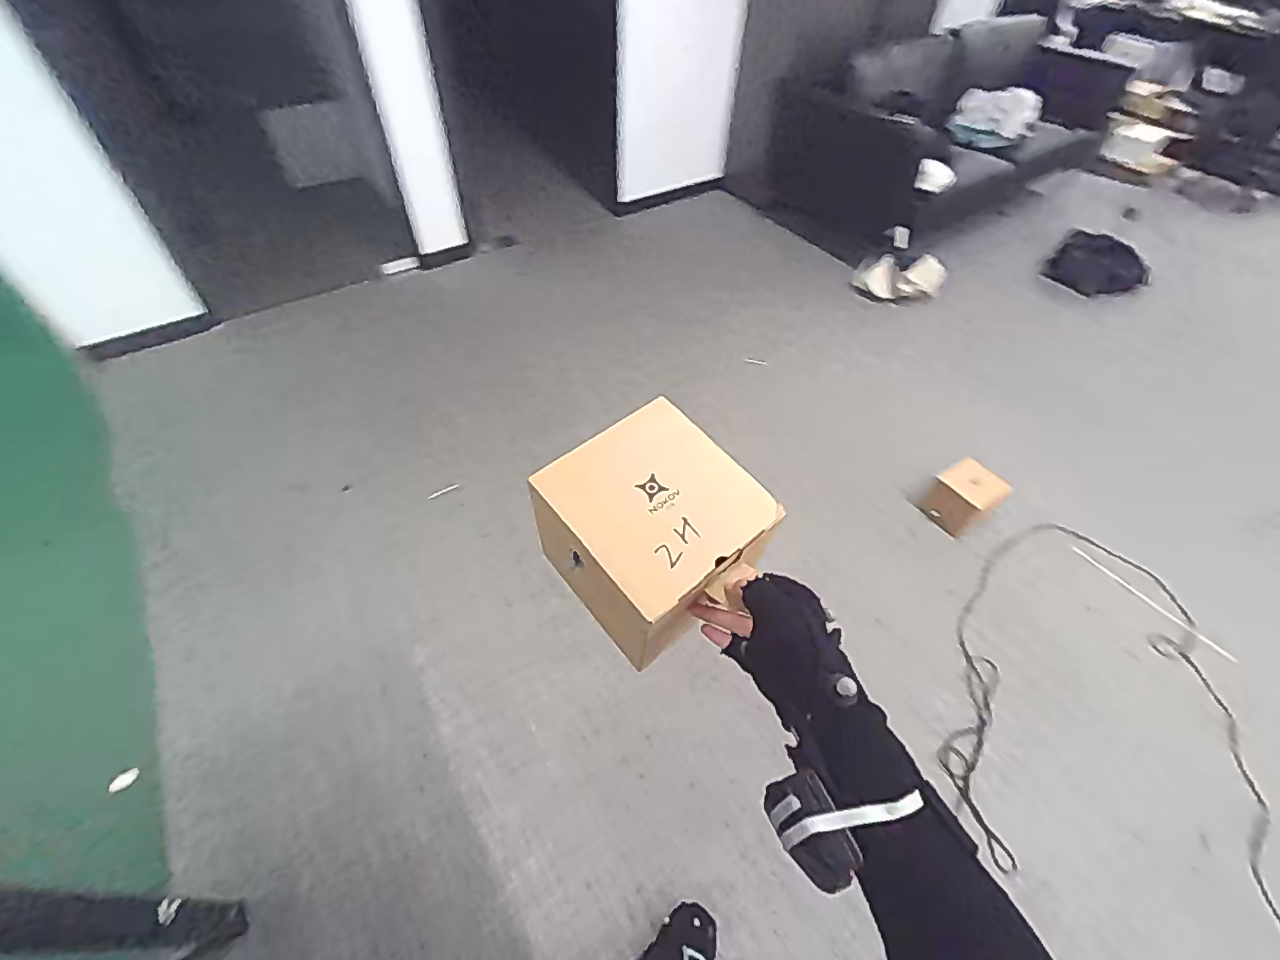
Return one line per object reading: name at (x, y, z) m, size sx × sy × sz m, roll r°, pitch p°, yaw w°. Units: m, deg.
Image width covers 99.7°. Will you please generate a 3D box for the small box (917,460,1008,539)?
small box at (1.075, 0.067, 1.819) m, size 0.179 × 0.176 × 0.168 m, roll -25°, pitch 54°, yaw -21°
